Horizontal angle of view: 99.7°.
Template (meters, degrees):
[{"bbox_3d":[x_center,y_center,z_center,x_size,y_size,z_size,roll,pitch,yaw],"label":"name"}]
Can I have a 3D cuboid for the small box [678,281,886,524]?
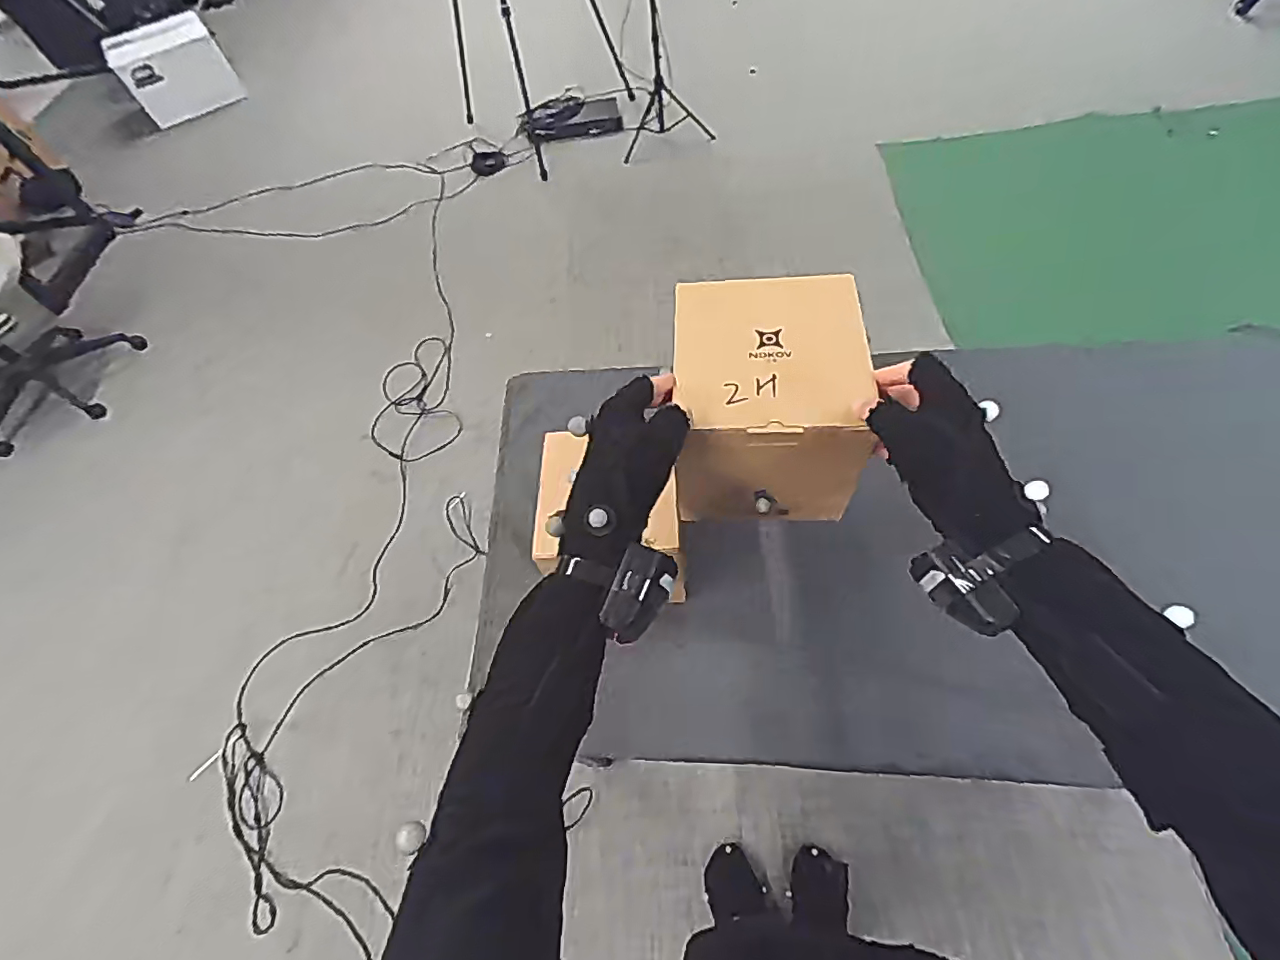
[{"bbox_3d":[0.125,-0.071,0.539,0.168,0.176,0.179,0,61,8],"label":"small box"}]
